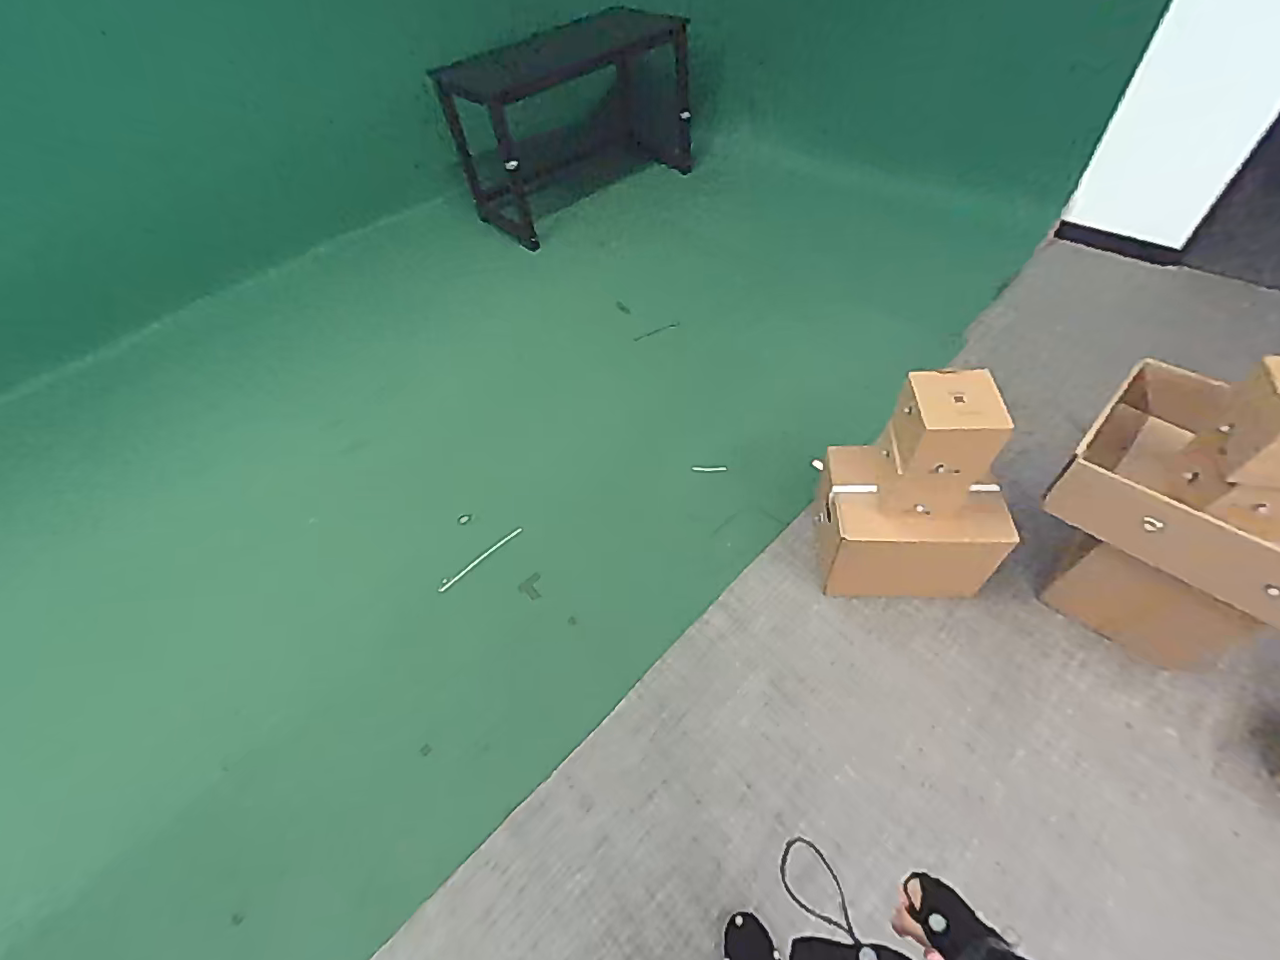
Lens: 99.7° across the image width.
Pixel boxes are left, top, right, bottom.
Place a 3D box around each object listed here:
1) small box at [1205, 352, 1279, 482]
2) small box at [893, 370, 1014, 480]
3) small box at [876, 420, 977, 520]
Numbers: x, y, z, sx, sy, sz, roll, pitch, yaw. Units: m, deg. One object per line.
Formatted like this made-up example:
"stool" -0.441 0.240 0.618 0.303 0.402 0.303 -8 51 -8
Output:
"small box" 1.184 -0.102 0.959 0.179 0.176 0.168 9 53 16
"small box" 0.670 -0.121 1.183 0.168 0.176 0.179 0 52 9
"small box" 0.684 -0.025 1.314 0.168 0.176 0.179 2 53 10
